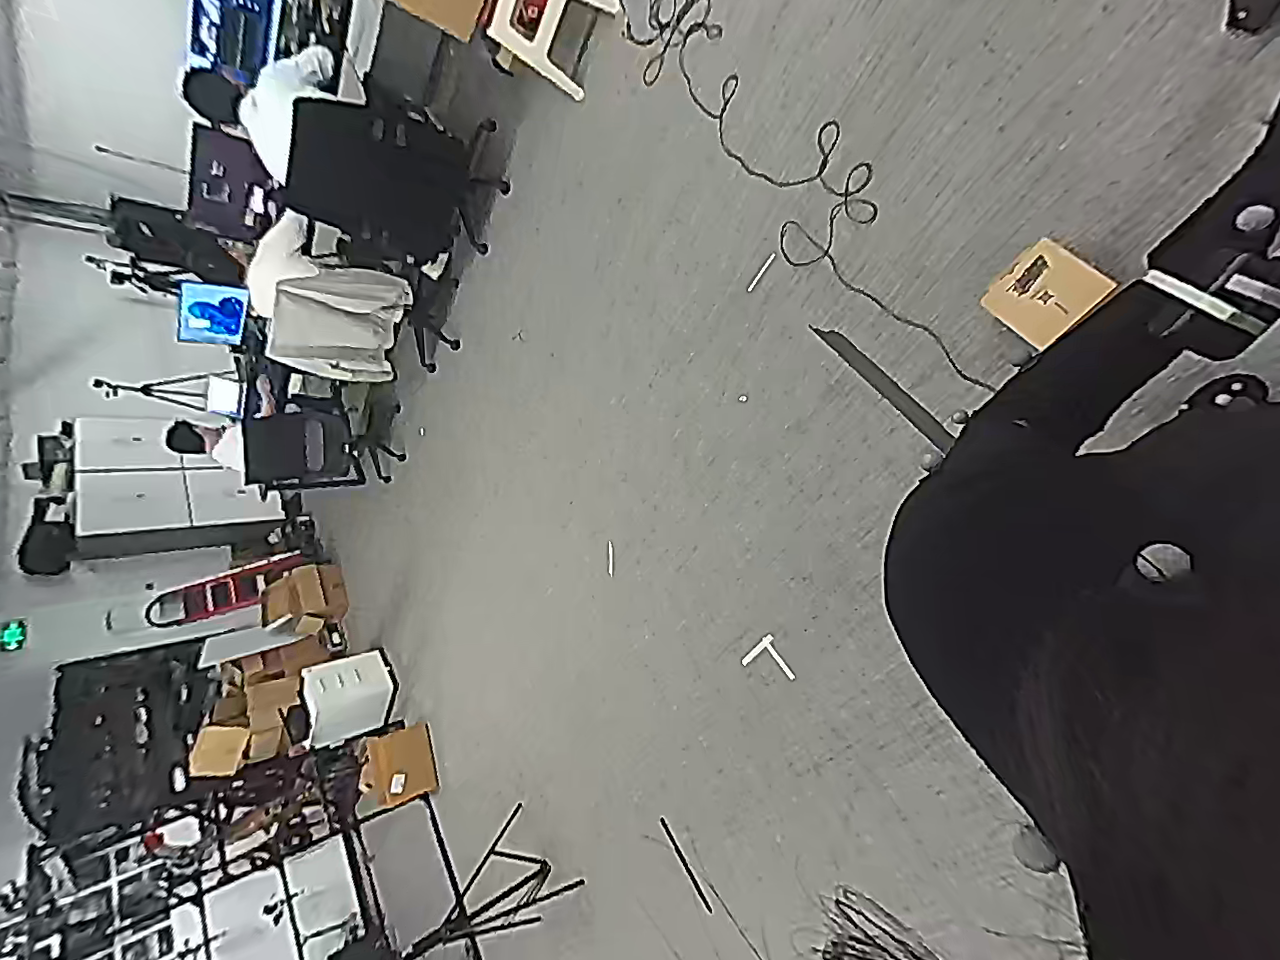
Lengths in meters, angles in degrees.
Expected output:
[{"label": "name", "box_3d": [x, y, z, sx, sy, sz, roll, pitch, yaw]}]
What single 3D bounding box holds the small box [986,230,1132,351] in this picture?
[{"label": "small box", "box_3d": [0.895, -0.395, 1.158, 0.168, 0.176, 0.179, -53, 57, 35]}]
